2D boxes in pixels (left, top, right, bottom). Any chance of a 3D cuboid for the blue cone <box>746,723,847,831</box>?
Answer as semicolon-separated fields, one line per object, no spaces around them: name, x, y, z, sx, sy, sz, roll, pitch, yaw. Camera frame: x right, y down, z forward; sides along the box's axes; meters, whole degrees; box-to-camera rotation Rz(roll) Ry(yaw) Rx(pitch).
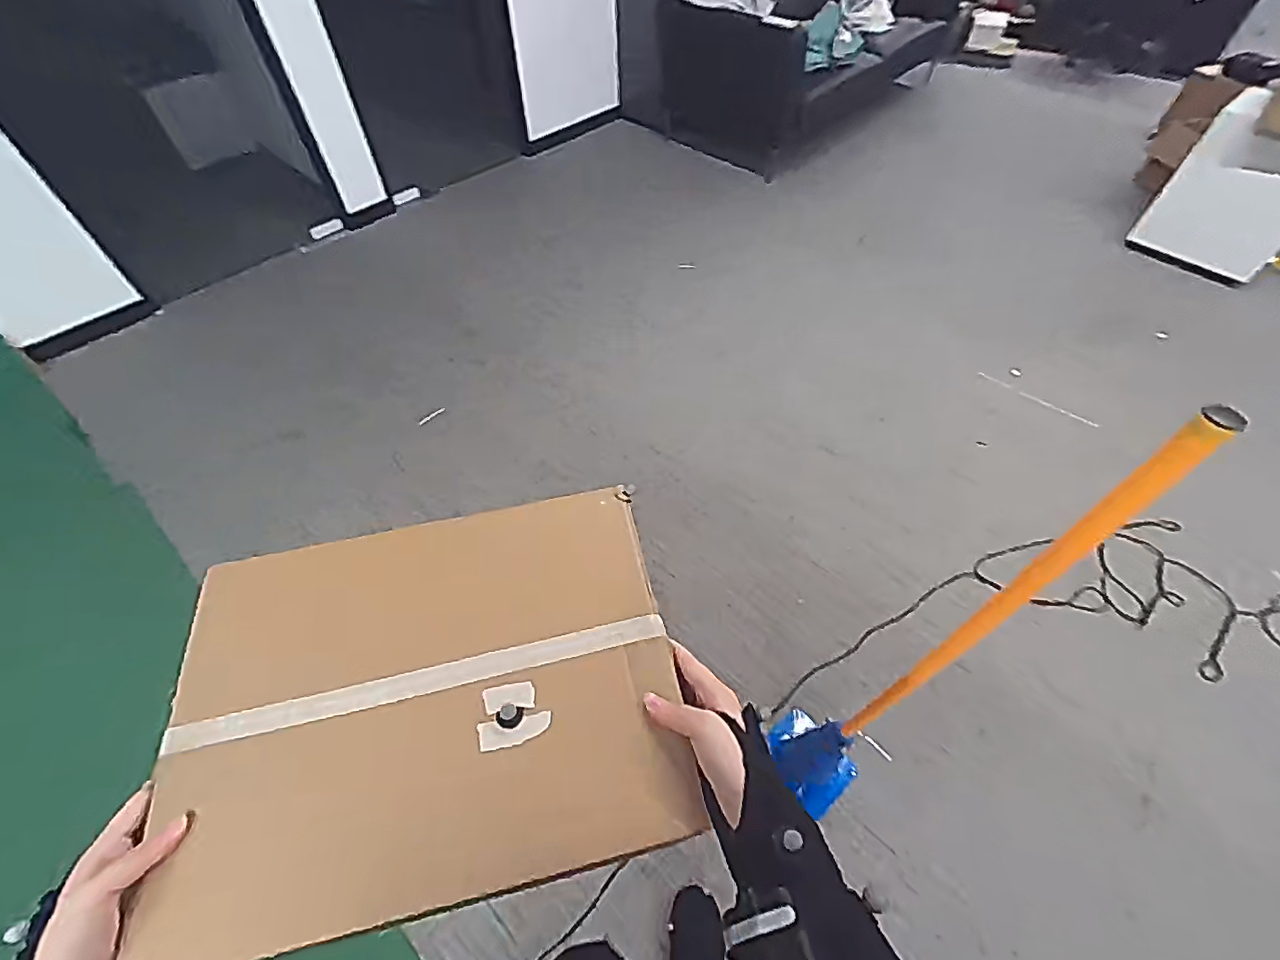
blue cone;0.380;0.612;1.179;0.192;0.380;0.193;-32;59;-22

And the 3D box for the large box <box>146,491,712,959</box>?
large box;-0.175;0.258;0.586;0.408;0.320;0.320;-11;56;-9
